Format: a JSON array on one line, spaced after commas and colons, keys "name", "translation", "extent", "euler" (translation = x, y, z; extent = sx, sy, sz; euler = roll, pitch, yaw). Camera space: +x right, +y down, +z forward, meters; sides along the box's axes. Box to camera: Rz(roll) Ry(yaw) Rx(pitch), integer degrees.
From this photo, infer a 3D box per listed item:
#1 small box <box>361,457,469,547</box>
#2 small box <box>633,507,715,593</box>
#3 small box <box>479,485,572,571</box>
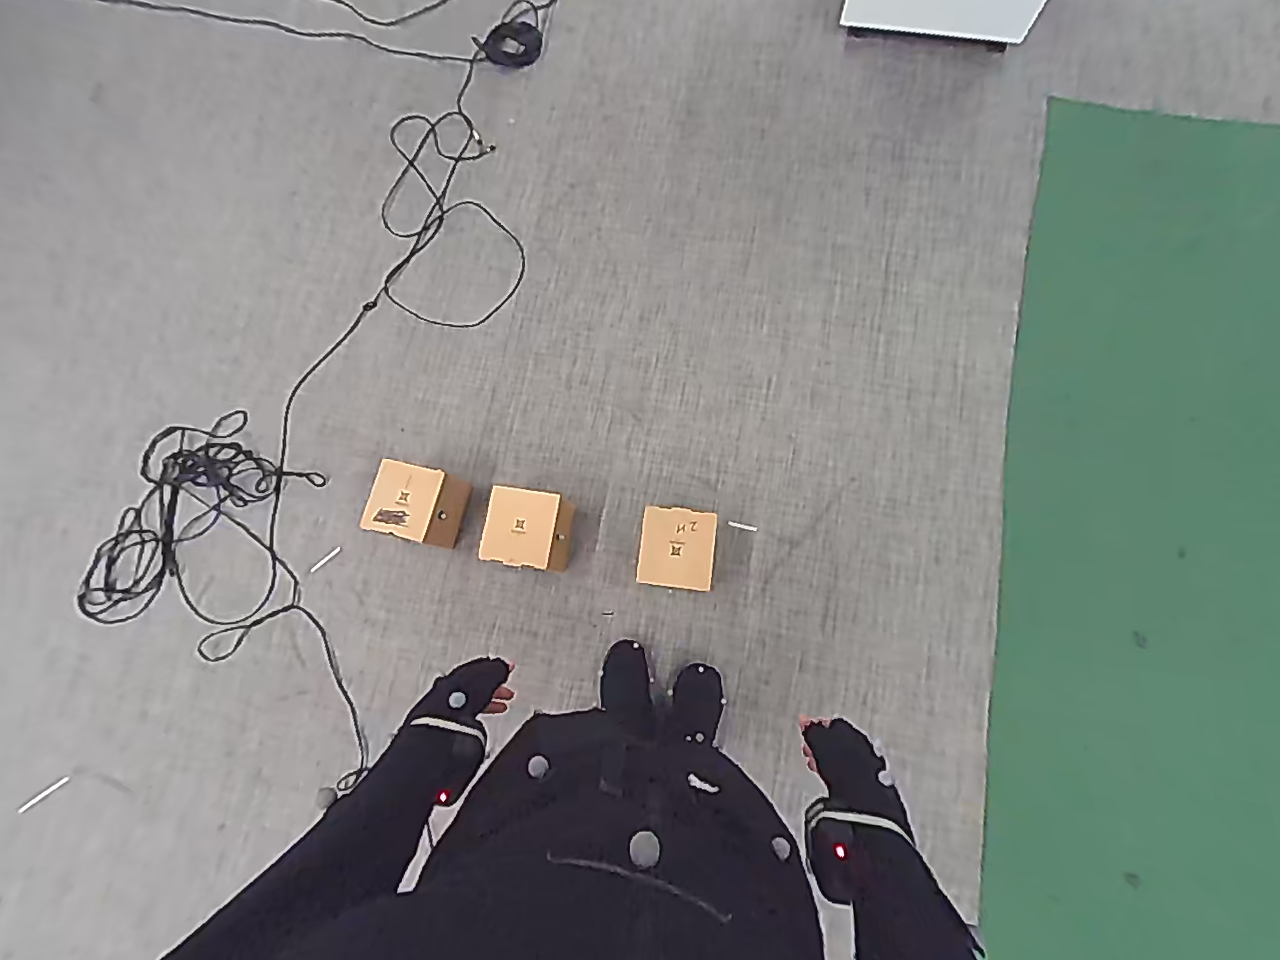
[{"name": "small box", "translation": [-0.554, 0.062, 1.358], "extent": [0.168, 0.176, 0.179], "euler": [13, 78, 7]}, {"name": "small box", "translation": [0.083, 0.170, 1.283], "extent": [0.168, 0.176, 0.179], "euler": [7, 79, 5]}, {"name": "small box", "translation": [-0.272, 0.123, 1.323], "extent": [0.168, 0.176, 0.179], "euler": [8, 79, 6]}]
